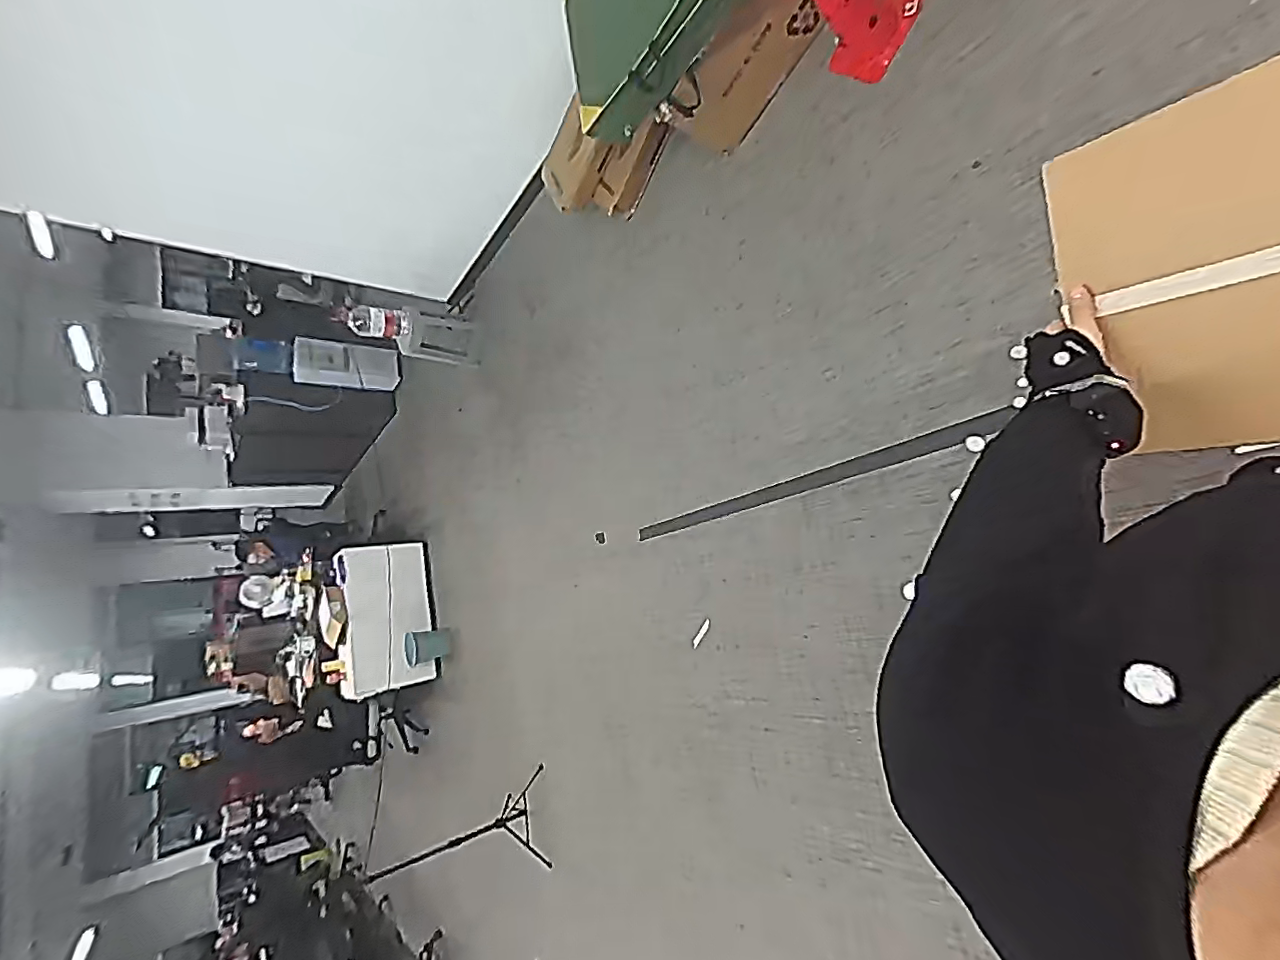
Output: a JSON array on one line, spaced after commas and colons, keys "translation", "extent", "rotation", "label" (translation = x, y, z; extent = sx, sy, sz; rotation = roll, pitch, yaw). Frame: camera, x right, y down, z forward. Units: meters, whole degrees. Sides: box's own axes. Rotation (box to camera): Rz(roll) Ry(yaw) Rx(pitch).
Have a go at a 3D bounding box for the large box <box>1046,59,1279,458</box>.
[{"translation": [0.680, -0.217, 0.496], "extent": [0.408, 0.320, 0.320], "rotation": [-8, 95, 53], "label": "large box"}]
